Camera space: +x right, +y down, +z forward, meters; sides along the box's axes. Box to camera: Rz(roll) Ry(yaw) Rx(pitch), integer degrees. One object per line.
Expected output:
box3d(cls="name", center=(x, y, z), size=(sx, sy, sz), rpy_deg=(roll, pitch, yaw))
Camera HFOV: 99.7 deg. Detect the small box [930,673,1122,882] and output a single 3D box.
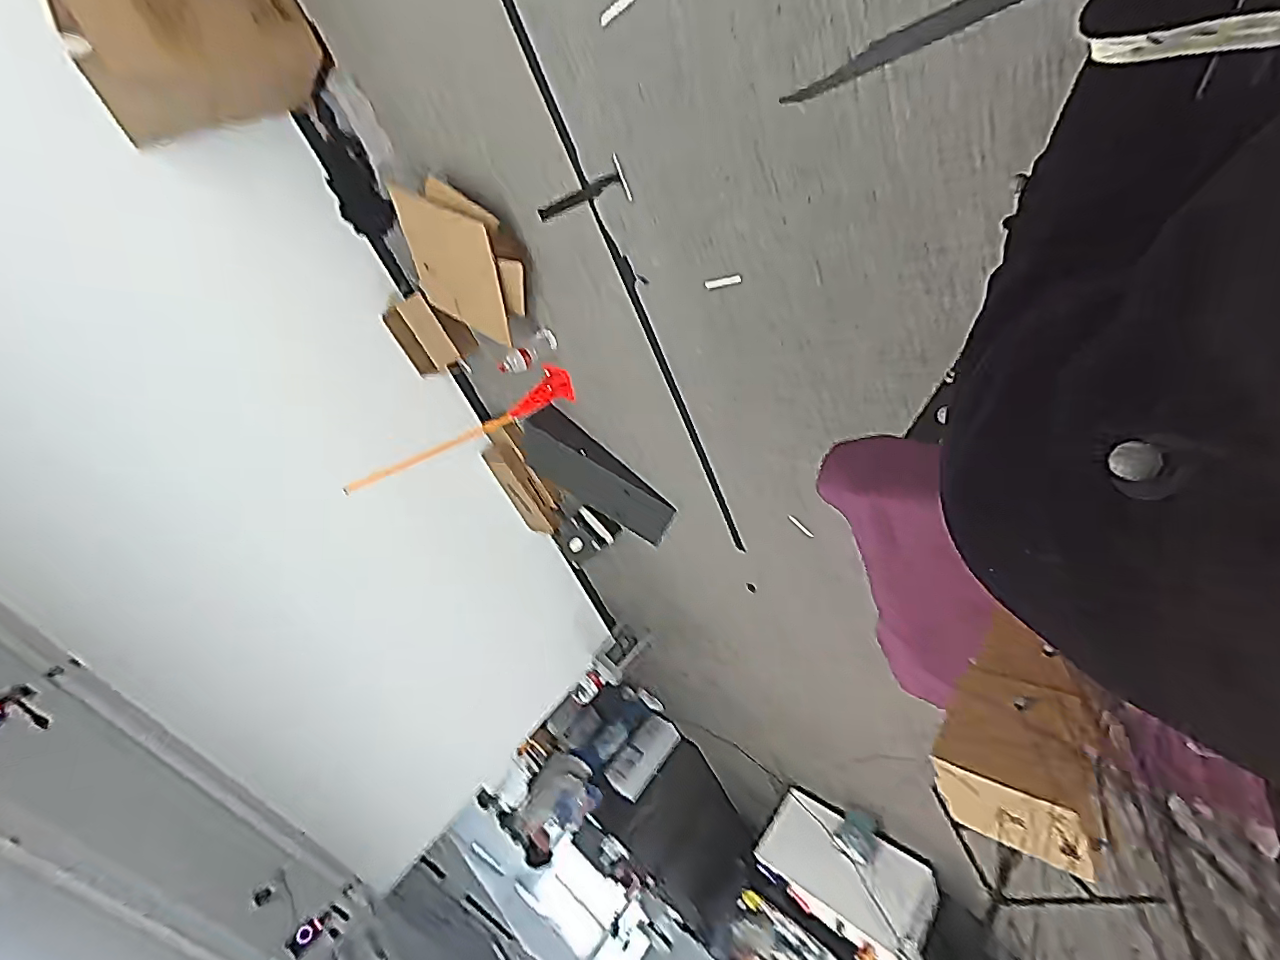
box3d(cls="small box", center=(0.554, 0.408, 0.775), size=(0.179, 0.176, 0.168), rpy_deg=(2, 129, 51))
